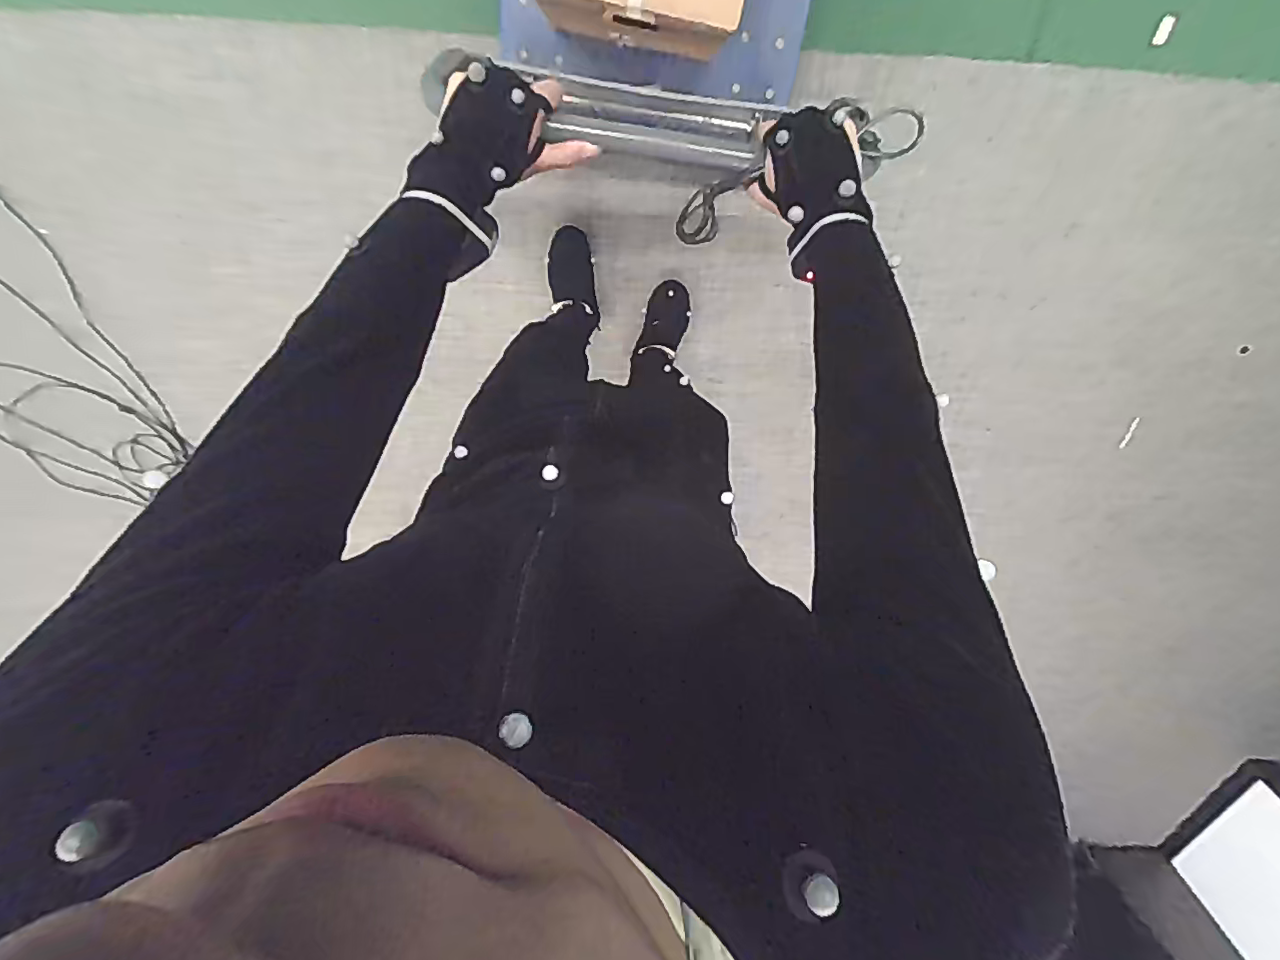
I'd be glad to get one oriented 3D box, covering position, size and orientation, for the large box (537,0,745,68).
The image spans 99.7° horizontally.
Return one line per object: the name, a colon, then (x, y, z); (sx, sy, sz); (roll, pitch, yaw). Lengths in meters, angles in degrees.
large box: (0.023, -0.917, 0.818); (0.320, 0.320, 0.408); (8, 120, -6)
